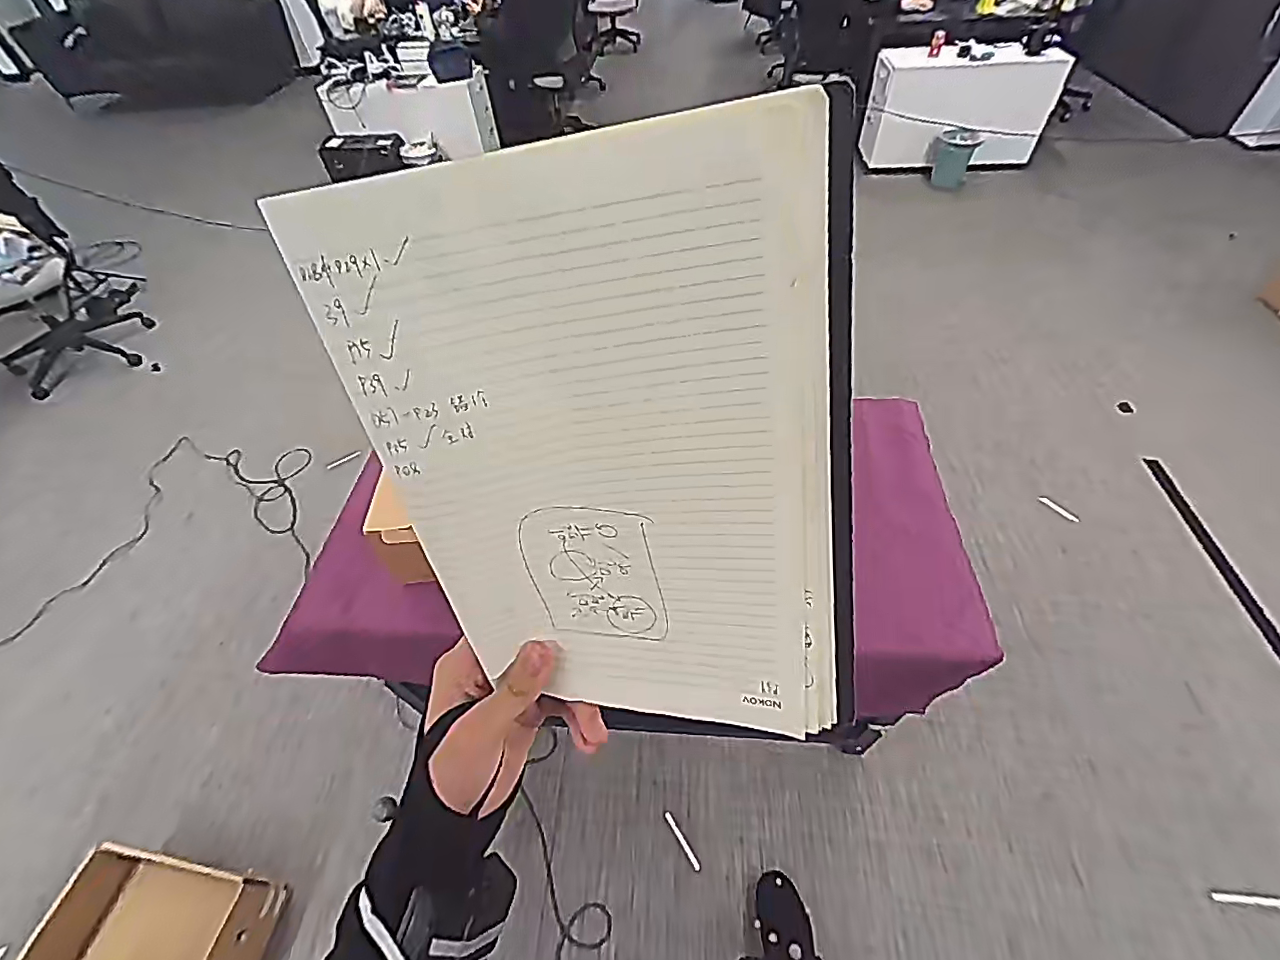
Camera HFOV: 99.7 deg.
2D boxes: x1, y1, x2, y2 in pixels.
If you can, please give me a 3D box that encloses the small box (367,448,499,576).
[{"bbox_3d":[-0.365,0.065,0.994,0.168,0.176,0.179,-4,50,0],"label":"small box"}]
